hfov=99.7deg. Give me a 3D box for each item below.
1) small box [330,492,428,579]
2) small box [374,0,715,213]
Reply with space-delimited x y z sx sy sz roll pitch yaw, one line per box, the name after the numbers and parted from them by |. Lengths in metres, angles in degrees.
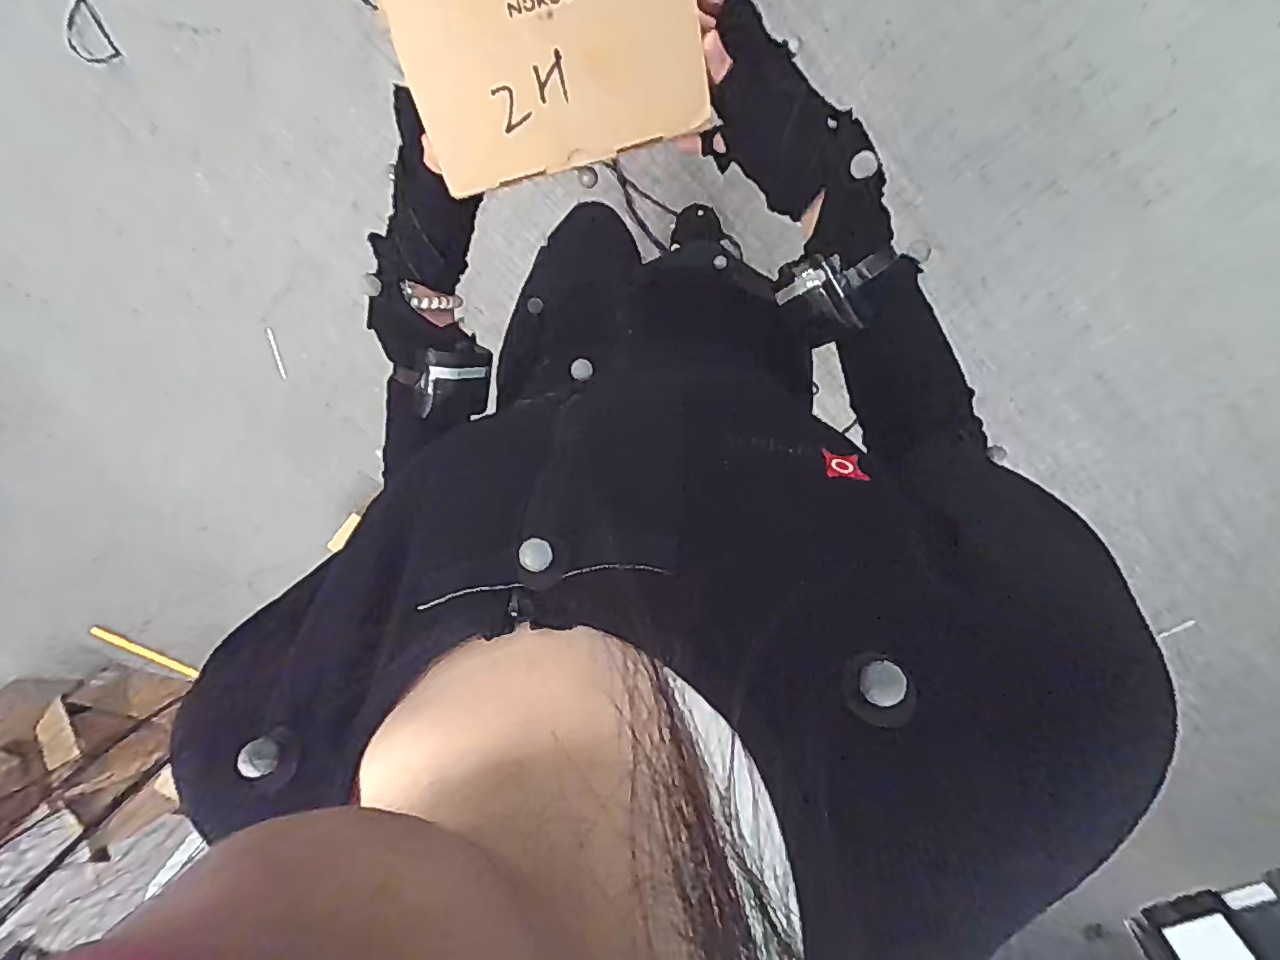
-0.785 0.160 1.641 0.179 0.176 0.168 41 113 -16 | small box
-0.059 -0.289 0.347 0.168 0.176 0.179 -14 121 4 | small box
